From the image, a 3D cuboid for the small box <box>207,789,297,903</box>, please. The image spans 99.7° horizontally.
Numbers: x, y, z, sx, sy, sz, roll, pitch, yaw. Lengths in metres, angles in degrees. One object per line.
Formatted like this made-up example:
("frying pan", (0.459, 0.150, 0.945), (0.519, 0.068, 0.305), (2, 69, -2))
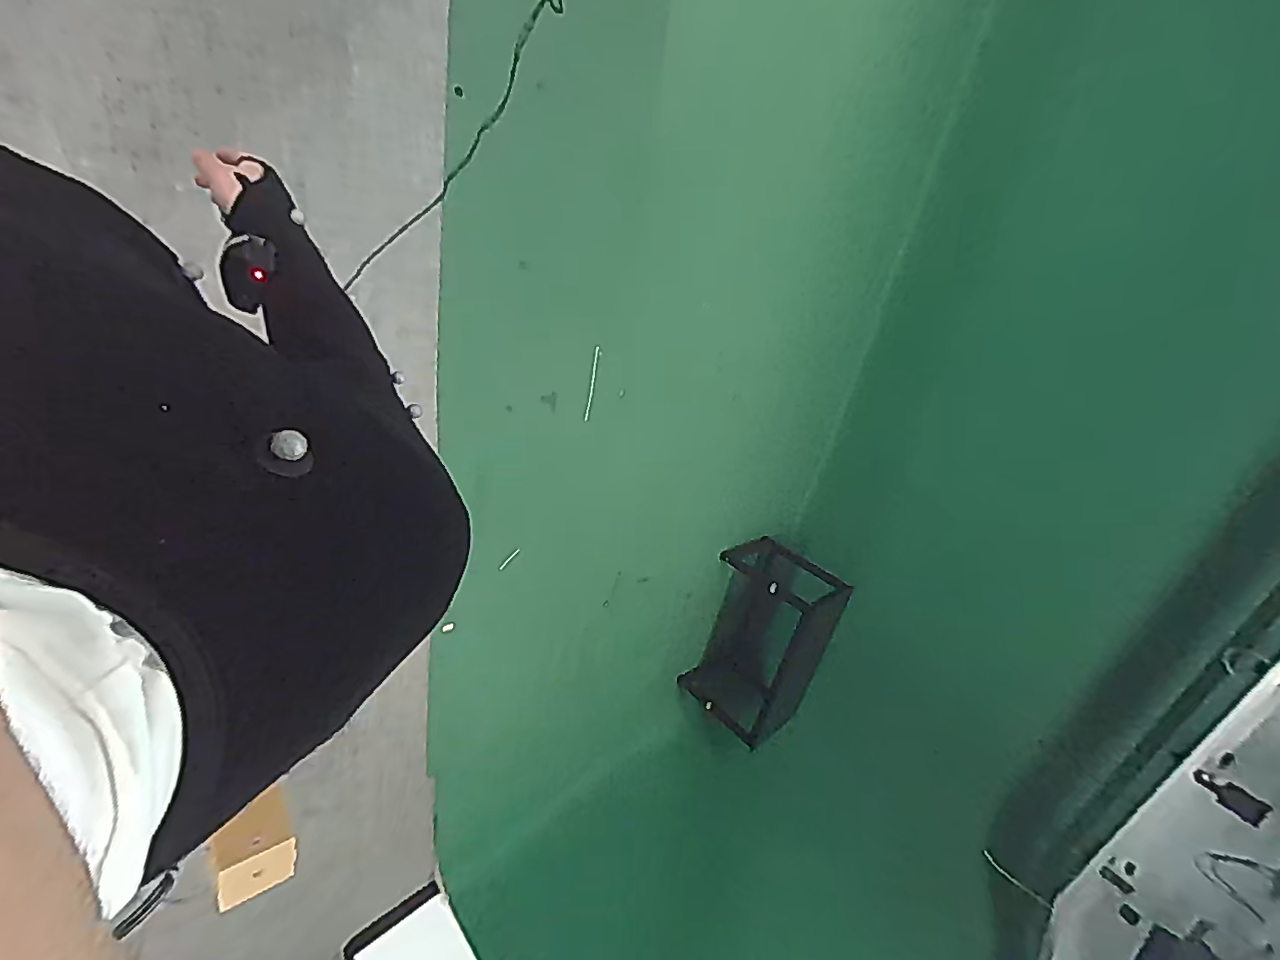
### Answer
("small box", (-1.096, 1.020, 1.526), (0.179, 0.176, 0.168), (-5, 119, -45))
